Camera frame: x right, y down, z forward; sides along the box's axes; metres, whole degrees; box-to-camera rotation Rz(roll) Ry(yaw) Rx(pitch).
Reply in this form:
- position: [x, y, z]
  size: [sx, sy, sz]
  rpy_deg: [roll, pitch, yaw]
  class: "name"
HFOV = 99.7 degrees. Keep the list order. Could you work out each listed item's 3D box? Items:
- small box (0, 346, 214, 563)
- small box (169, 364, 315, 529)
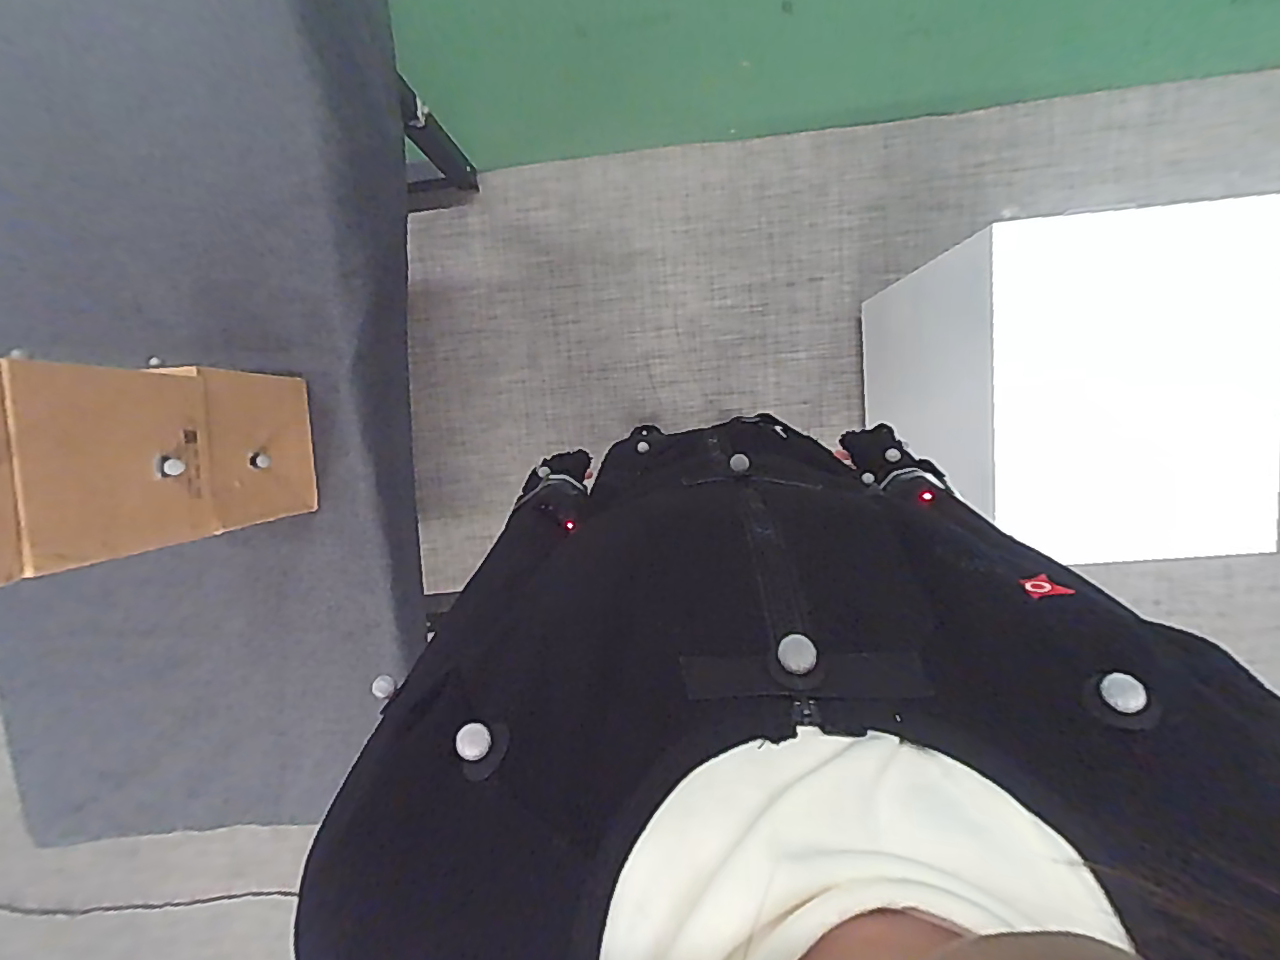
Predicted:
- position: [-0.543, -0.024, 0.490]
  size: [0.179, 0.176, 0.168]
  rpy_deg: [-2, 96, 6]
  class: "small box"
- position: [-0.525, -0.044, 0.653]
  size: [0.168, 0.176, 0.179]
  rpy_deg: [-2, 97, 5]
  class: "small box"
